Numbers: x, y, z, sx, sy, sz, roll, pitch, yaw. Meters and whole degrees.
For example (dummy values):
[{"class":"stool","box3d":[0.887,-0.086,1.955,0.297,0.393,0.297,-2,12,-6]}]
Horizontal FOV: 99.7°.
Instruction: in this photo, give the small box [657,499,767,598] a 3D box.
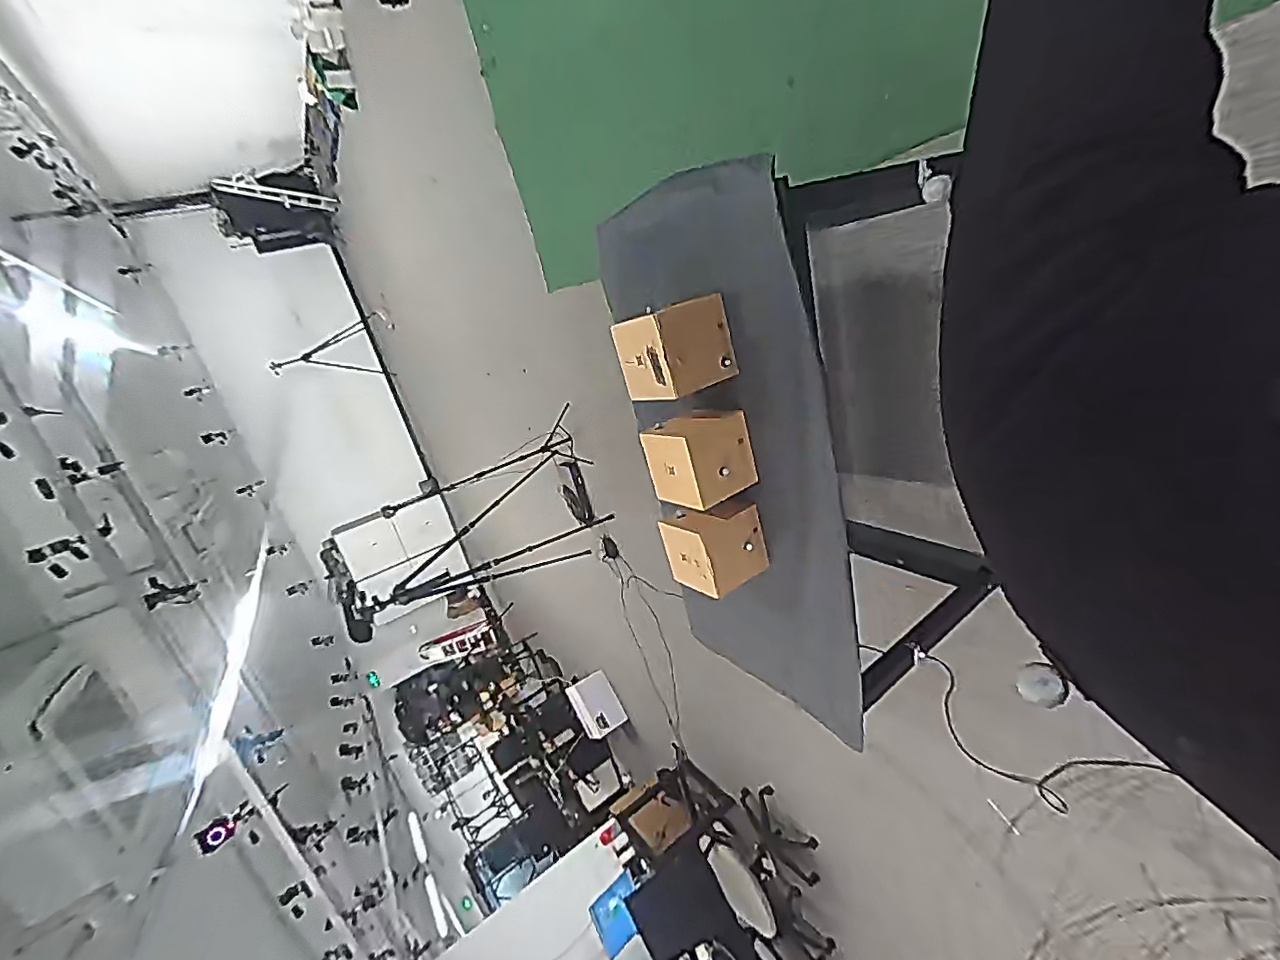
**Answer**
[{"class":"small box","box3d":[0.172,0.151,1.288,0.179,0.176,0.168,11,122,58]}]

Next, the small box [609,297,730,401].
[{"class":"small box","box3d":[0.068,-0.269,1.120,0.179,0.176,0.168,12,123,58]}]

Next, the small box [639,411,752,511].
[{"class":"small box","box3d":[0.129,-0.051,1.200,0.179,0.176,0.168,13,123,58]}]
